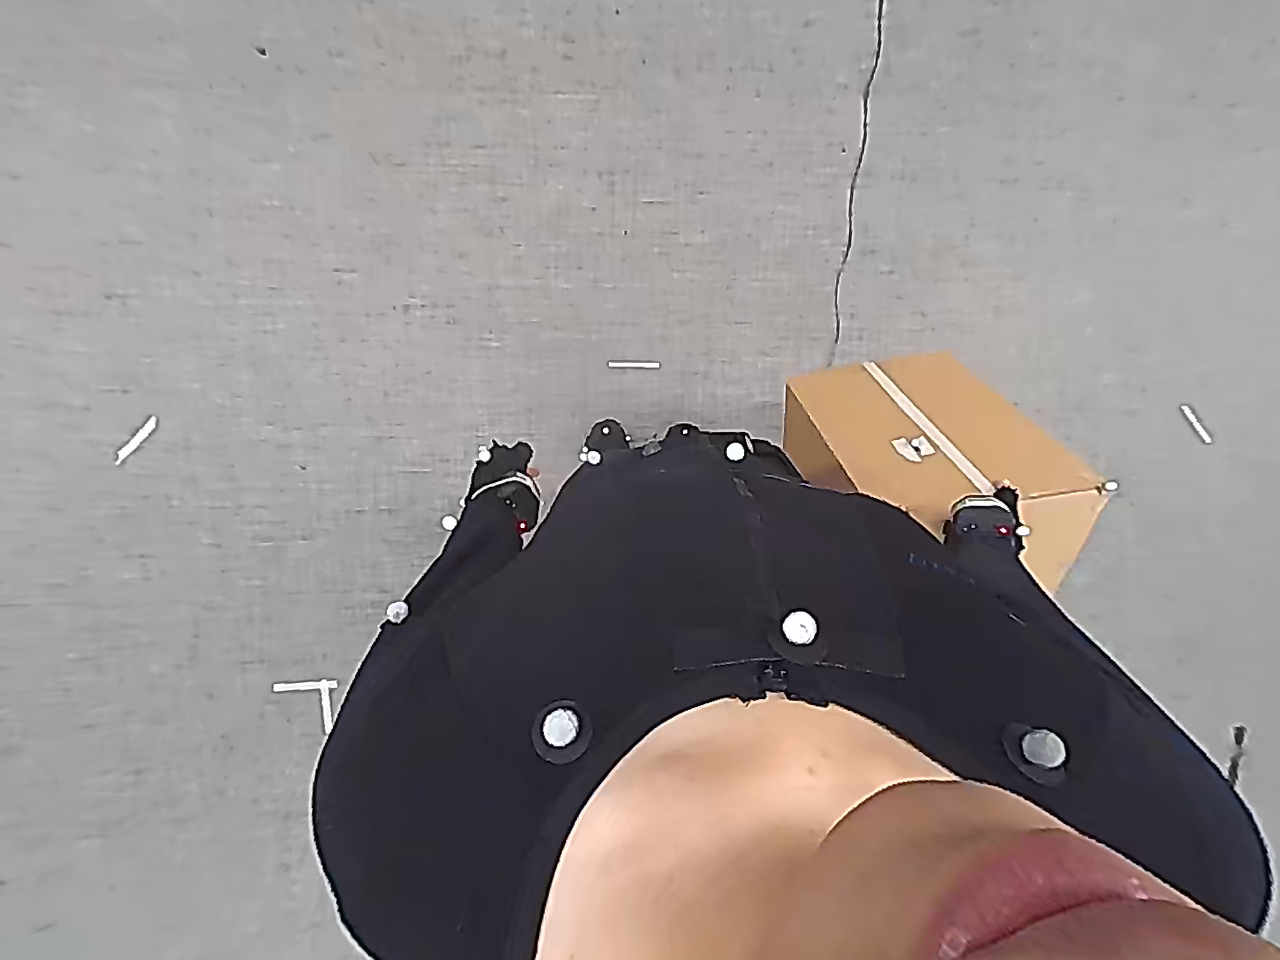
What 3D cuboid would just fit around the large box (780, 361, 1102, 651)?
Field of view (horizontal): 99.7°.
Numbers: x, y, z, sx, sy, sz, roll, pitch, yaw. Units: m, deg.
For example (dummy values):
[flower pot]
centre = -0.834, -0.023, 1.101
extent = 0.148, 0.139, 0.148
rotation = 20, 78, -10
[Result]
[large box]
centre = 0.472, 0.033, 0.979
extent = 0.320, 0.408, 0.320
rotation = -10, 130, -1
